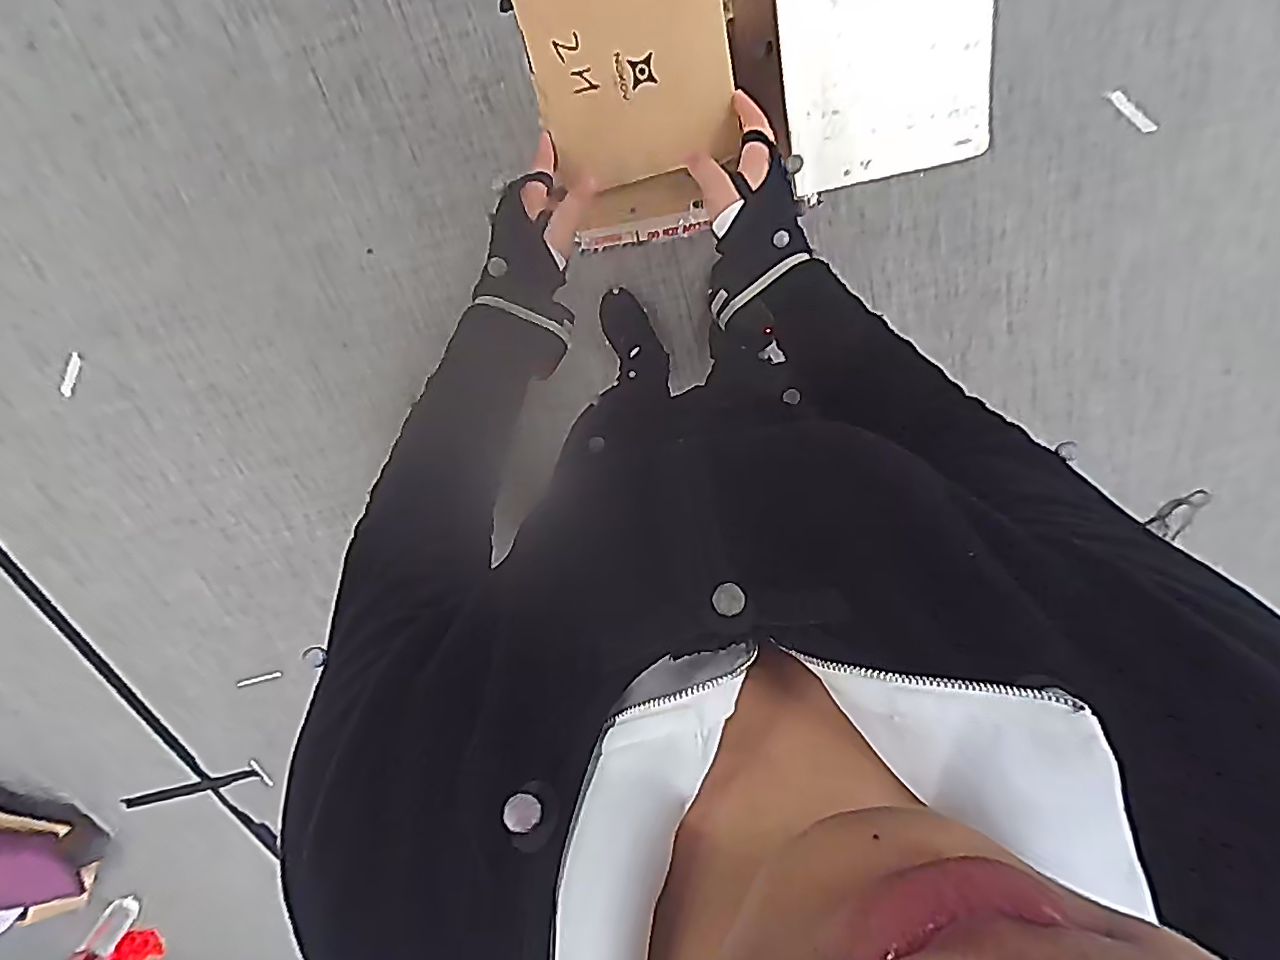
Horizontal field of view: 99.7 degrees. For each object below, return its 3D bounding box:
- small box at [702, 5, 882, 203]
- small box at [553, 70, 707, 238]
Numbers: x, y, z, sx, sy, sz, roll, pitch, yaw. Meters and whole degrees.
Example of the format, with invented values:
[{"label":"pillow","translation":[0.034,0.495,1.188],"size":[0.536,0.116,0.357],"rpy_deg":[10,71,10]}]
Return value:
[{"label":"small box","translation":[0.198,-0.490,0.732],"size":[0.179,0.176,0.168],"rpy_deg":[-17,115,2]},{"label":"small box","translation":[-0.012,-0.435,0.741],"size":[0.179,0.176,0.168],"rpy_deg":[-8,116,1]}]
